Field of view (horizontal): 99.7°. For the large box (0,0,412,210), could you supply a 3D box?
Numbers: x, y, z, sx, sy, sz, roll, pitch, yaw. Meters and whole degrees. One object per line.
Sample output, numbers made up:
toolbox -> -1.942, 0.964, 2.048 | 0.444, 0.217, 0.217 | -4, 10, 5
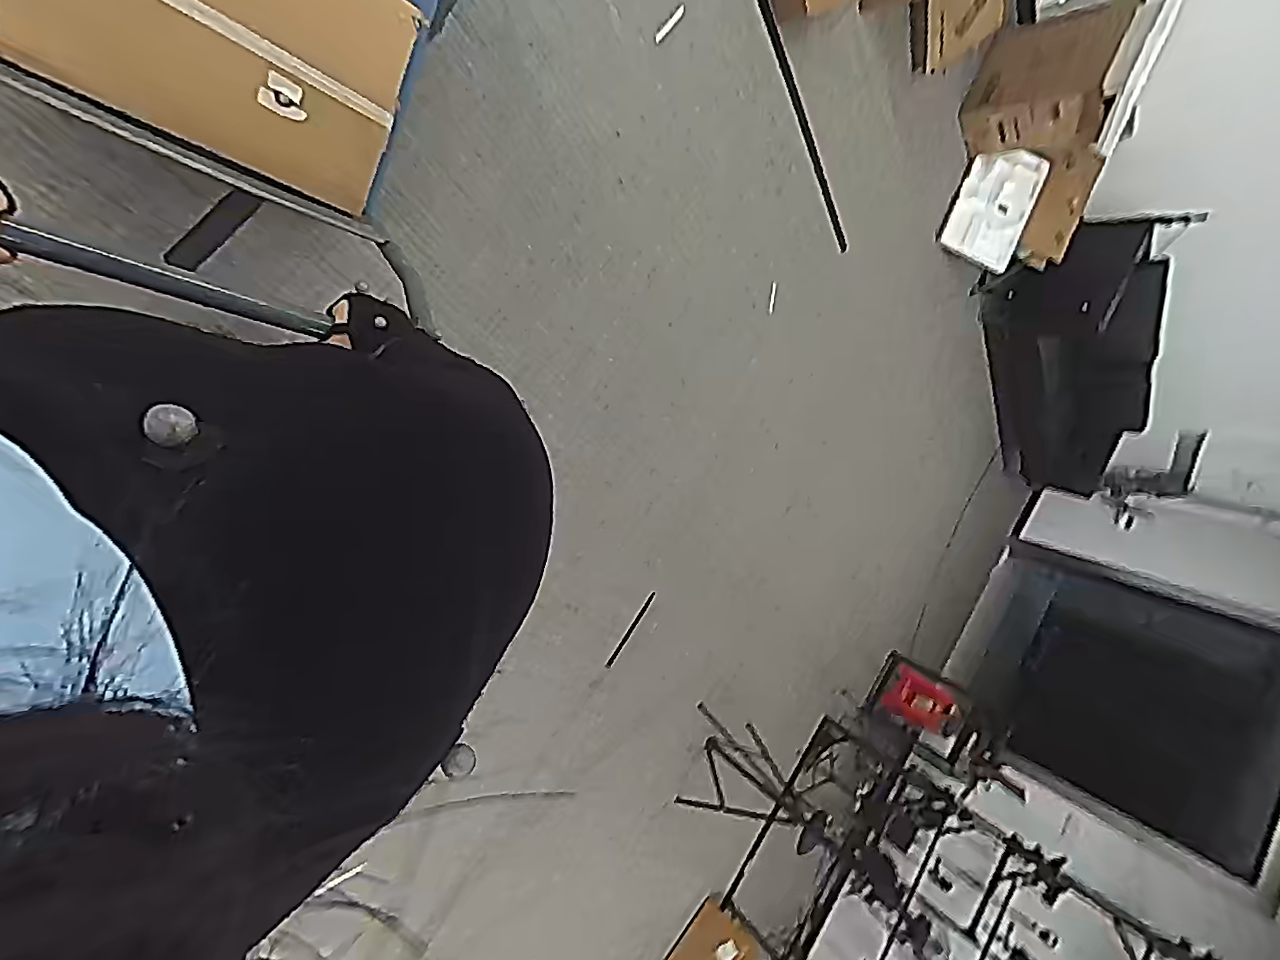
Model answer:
large box -> -0.633, -0.677, 0.813 | 0.408, 0.320, 0.320 | 11, 115, -46
